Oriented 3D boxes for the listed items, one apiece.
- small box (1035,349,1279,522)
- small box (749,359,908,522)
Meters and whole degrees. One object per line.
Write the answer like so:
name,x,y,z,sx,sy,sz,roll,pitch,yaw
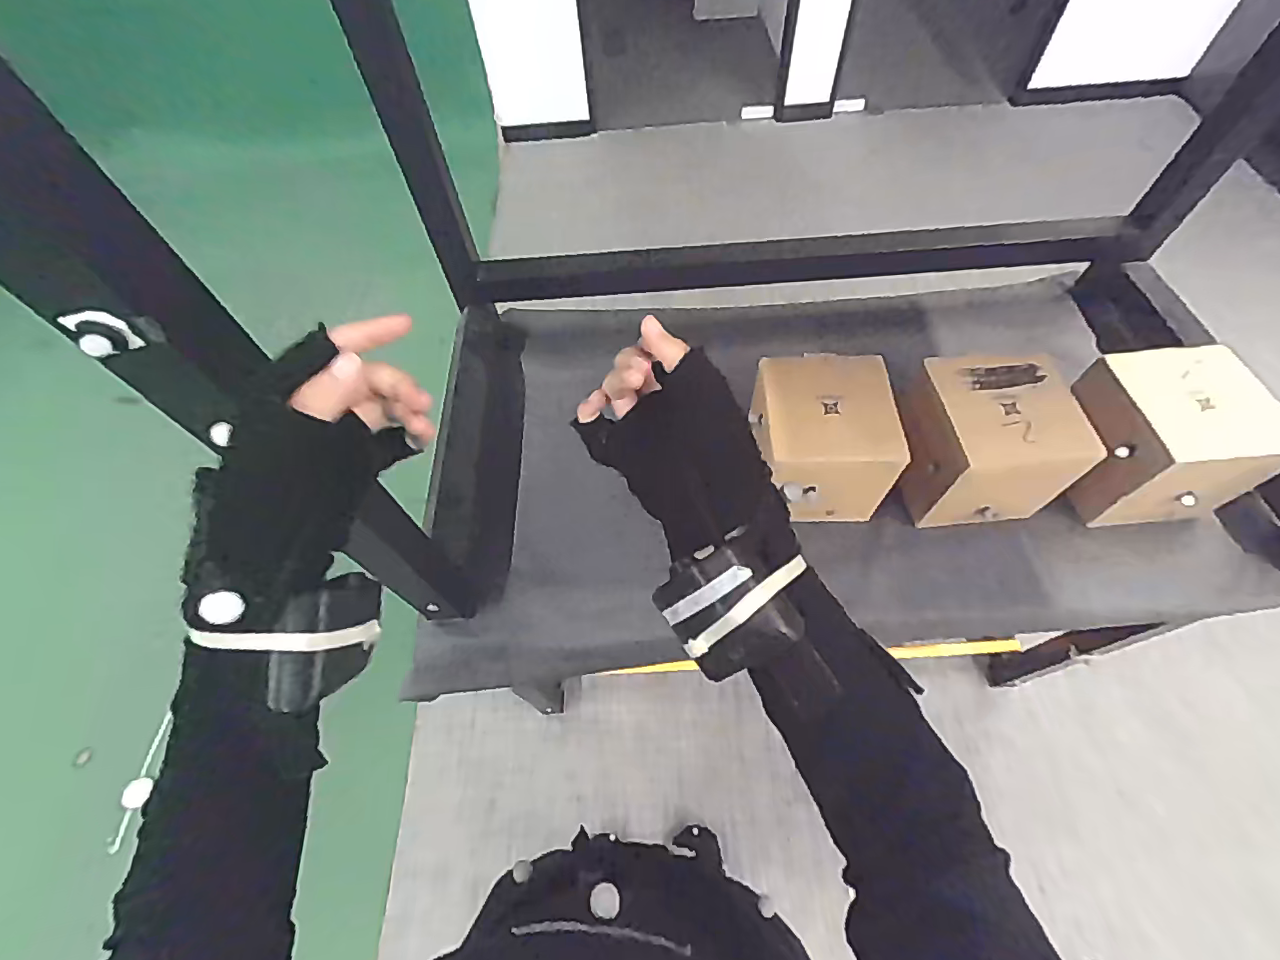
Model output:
small box,0.699,-0.052,0.740,0.168,0.176,0.179,-5,58,0
small box,0.251,-0.049,0.768,0.168,0.176,0.179,0,58,3
